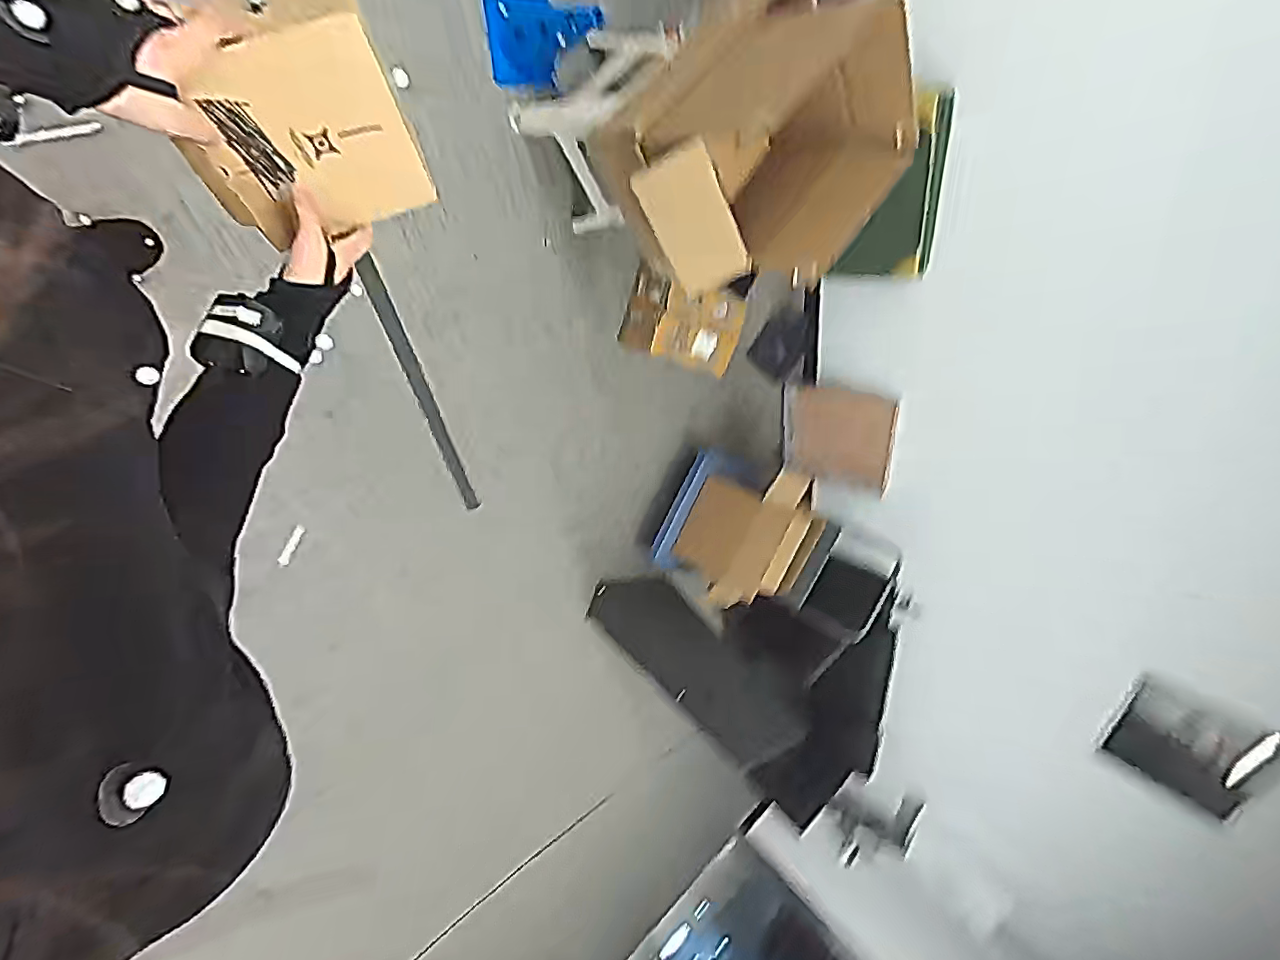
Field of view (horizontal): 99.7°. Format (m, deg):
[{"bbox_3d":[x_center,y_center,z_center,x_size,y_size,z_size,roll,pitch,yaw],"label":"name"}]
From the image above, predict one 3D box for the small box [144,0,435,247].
[{"bbox_3d":[-0.336,-0.376,0.547,0.179,0.176,0.168,-23,149,-7],"label":"small box"}]
